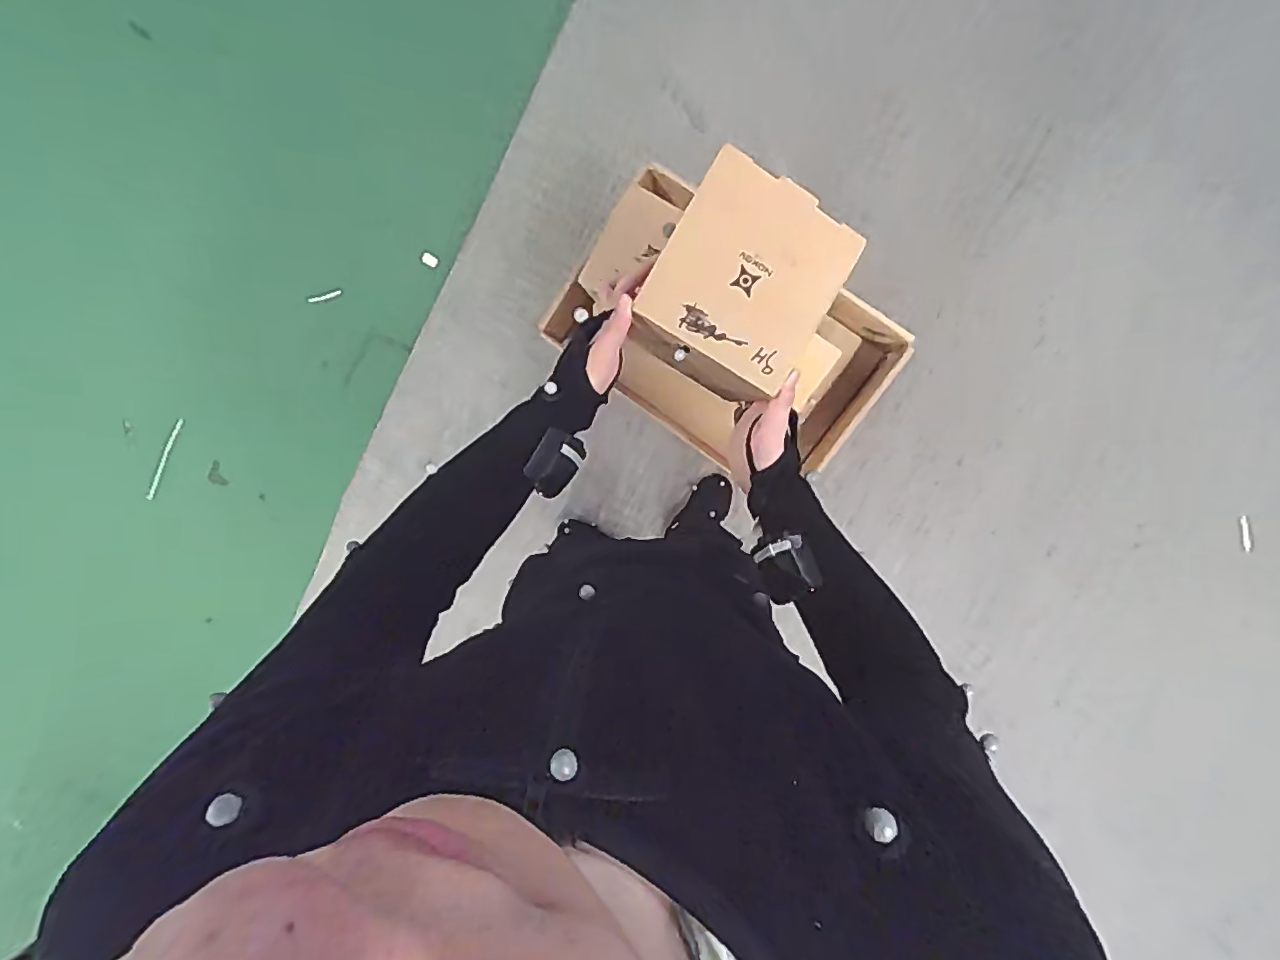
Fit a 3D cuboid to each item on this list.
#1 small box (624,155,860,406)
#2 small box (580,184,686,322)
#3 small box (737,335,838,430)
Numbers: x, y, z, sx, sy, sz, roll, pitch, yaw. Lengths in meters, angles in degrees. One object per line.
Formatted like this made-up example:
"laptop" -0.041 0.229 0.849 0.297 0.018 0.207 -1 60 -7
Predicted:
"small box" 0.093 -0.197 0.591 0.168 0.176 0.179 29 93 -10
"small box" 0.023 -0.355 0.927 0.168 0.176 0.179 33 99 3
"small box" 0.259 -0.218 1.080 0.168 0.176 0.179 36 100 3
